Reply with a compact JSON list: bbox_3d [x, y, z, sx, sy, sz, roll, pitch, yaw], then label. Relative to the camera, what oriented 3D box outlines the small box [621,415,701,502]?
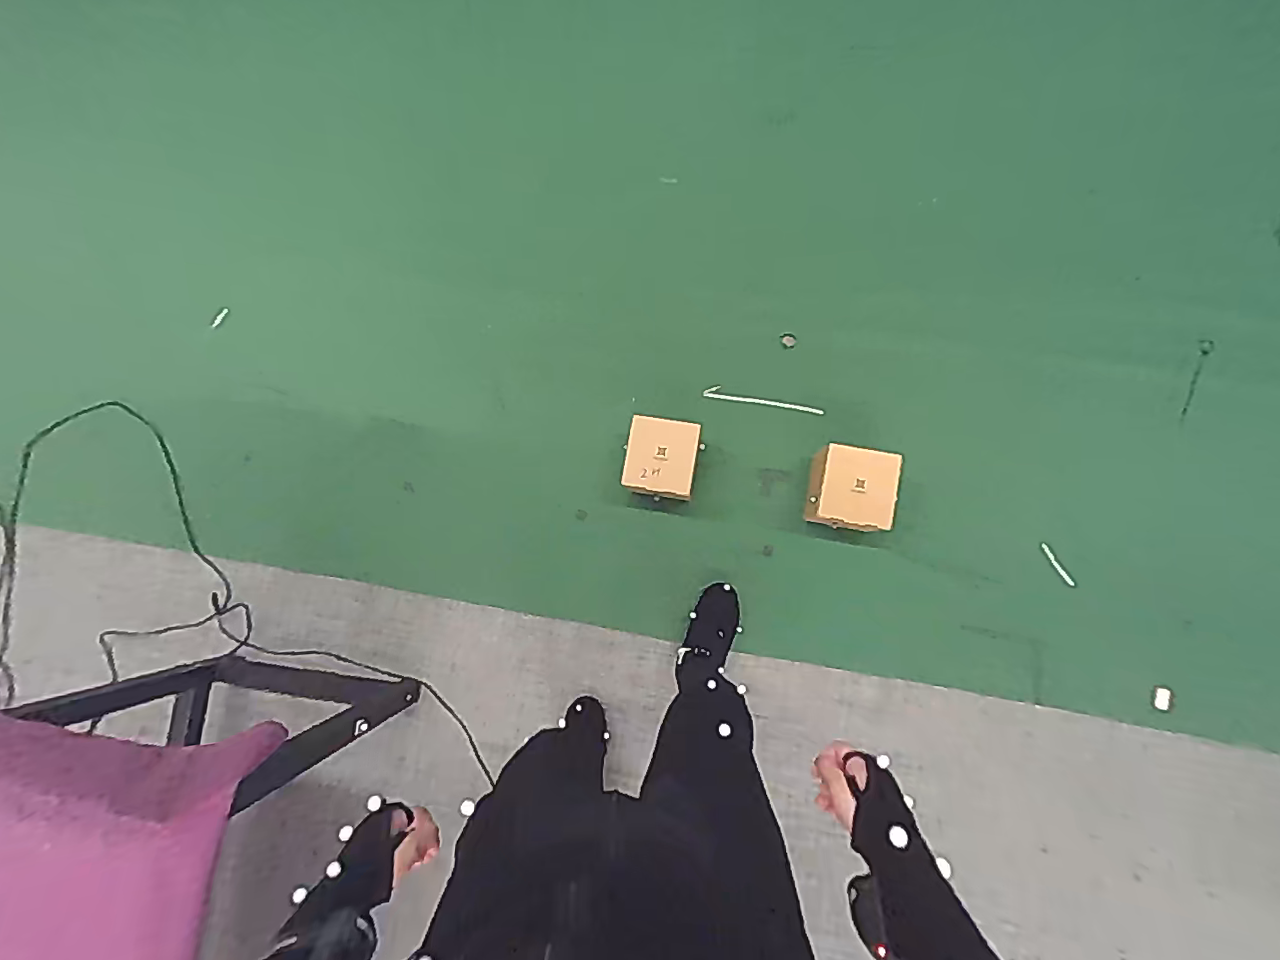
[{"bbox_3d":[0.057,-0.049,1.359,0.168,0.176,0.179,10,85,7],"label":"small box"}]

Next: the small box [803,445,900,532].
[{"bbox_3d":[0.505,0.027,1.312,0.168,0.176,0.179,11,86,6],"label":"small box"}]
